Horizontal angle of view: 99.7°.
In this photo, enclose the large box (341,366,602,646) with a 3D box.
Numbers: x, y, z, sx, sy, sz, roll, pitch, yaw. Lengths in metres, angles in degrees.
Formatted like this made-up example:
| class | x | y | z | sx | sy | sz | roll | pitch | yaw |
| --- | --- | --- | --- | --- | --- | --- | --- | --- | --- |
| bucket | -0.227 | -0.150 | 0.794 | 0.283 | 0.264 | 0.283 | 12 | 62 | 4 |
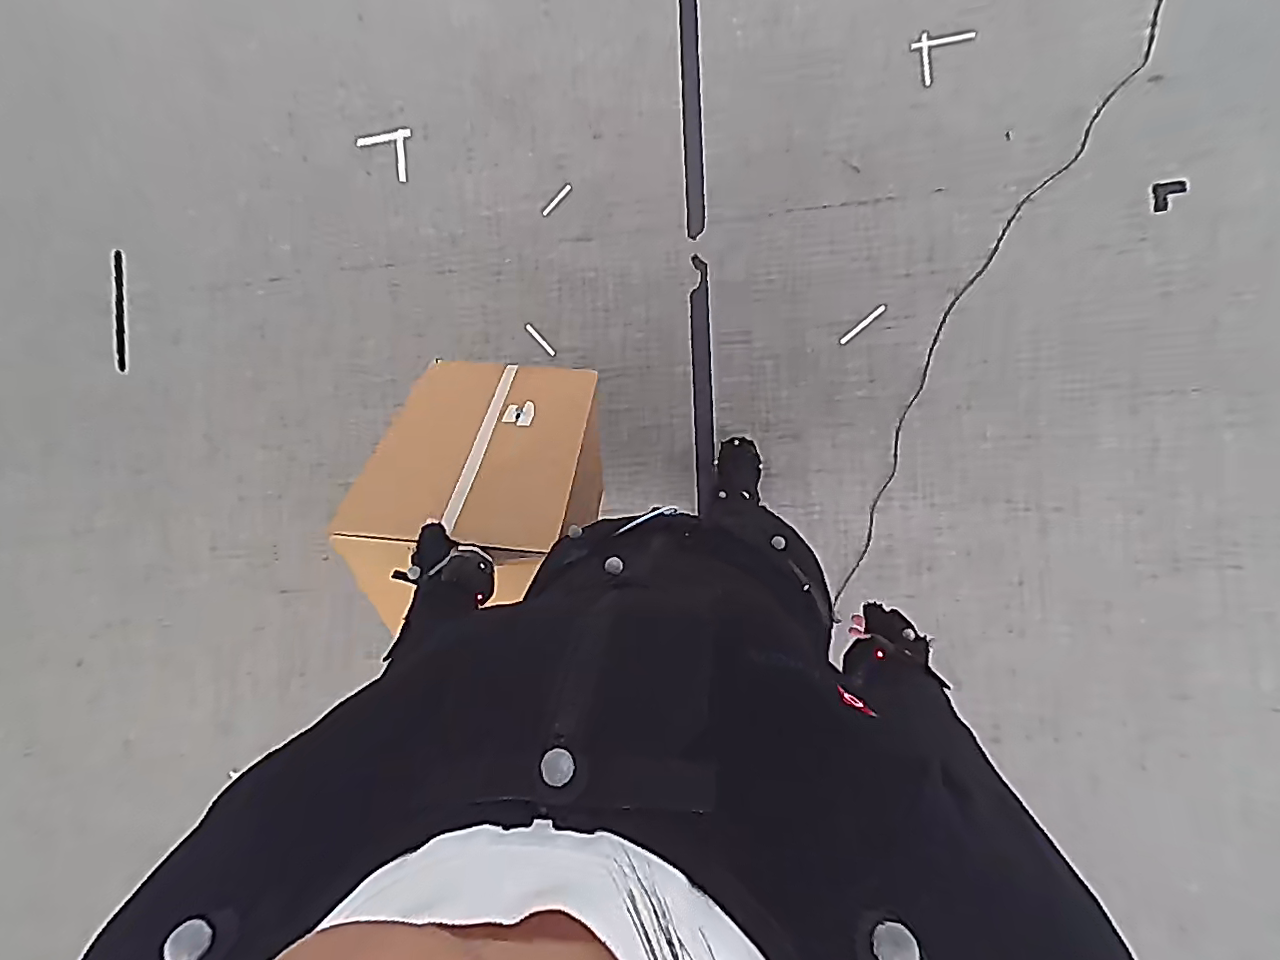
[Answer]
| class | x | y | z | sx | sy | sz | roll | pitch | yaw |
| --- | --- | --- | --- | --- | --- | --- | --- | --- | --- |
| large box | -0.251 | 0.043 | 0.981 | 0.320 | 0.320 | 0.408 | 5 | 47 | 3 |
